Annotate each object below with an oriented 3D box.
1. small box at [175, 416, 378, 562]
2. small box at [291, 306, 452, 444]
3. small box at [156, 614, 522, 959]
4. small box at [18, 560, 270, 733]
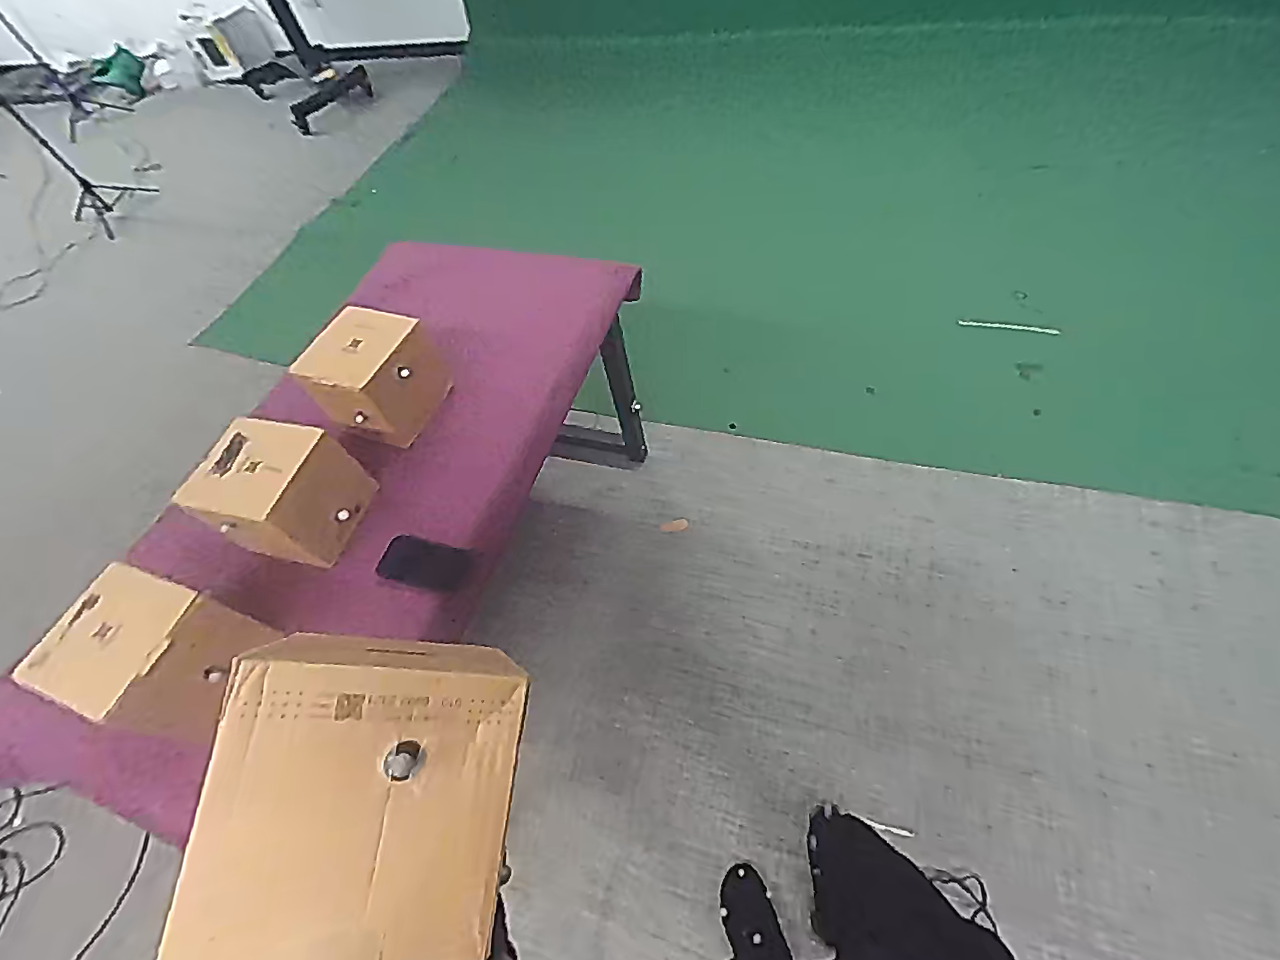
[{"bbox_3d":[-0.577,0.018,0.885,0.179,0.176,0.168,9,60,14],"label":"small box"},{"bbox_3d":[-0.484,-0.191,1.006,0.168,0.176,0.179,16,61,18],"label":"small box"},{"bbox_3d":[-0.190,0.192,0.394,0.168,0.179,0.176,12,75,-19],"label":"small box"},{"bbox_3d":[-0.662,0.238,0.757,0.179,0.176,0.168,13,60,16],"label":"small box"}]
